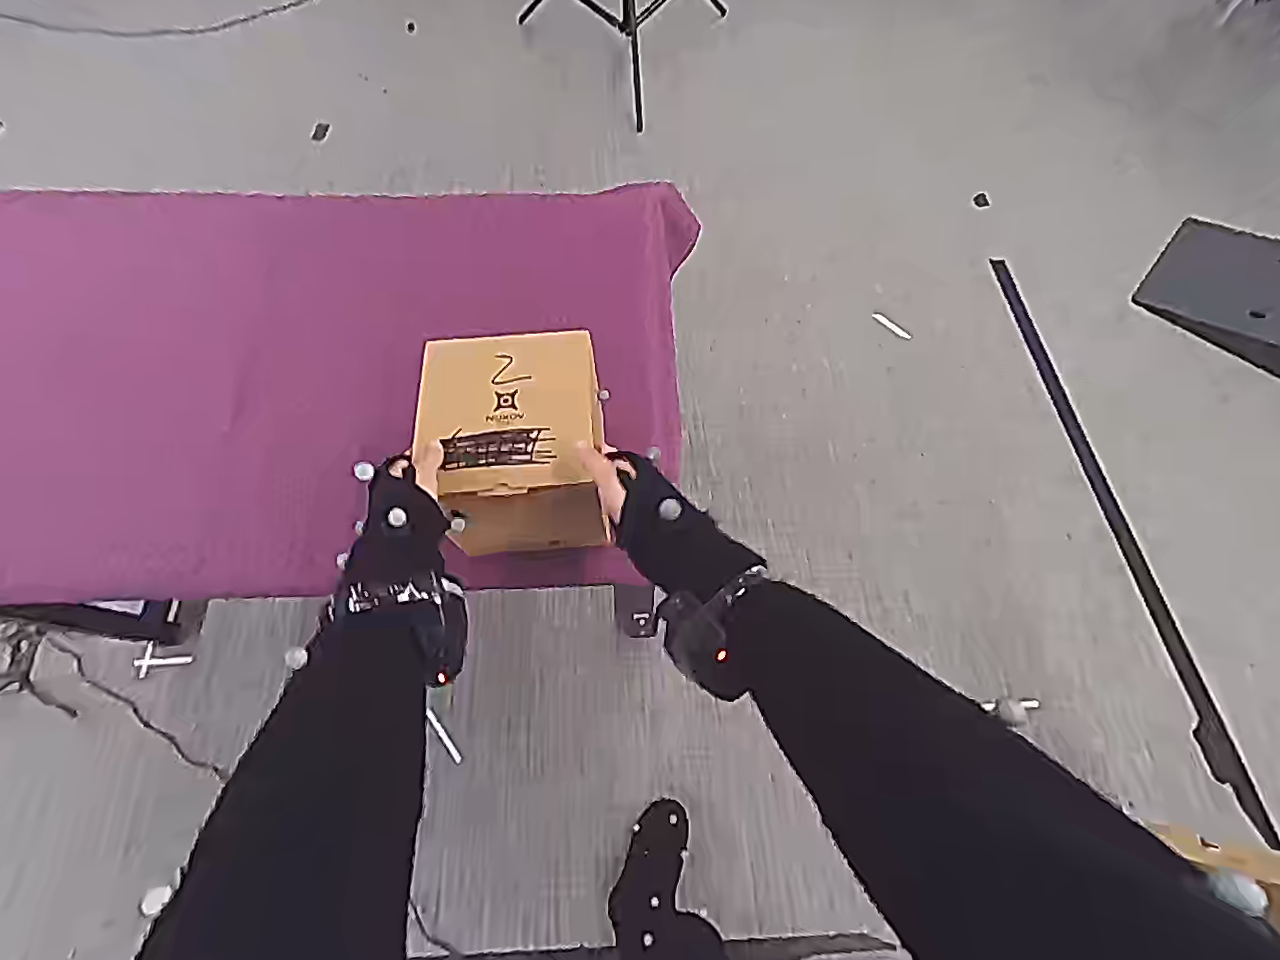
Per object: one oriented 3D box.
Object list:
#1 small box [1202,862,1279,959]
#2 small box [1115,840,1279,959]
[{"bbox_3d":[0.928,0.628,0.718,0.168,0.176,0.179,-3,67,0],"label":"small box"},{"bbox_3d":[0.929,0.696,0.868,0.168,0.176,0.179,-3,67,-1],"label":"small box"}]
